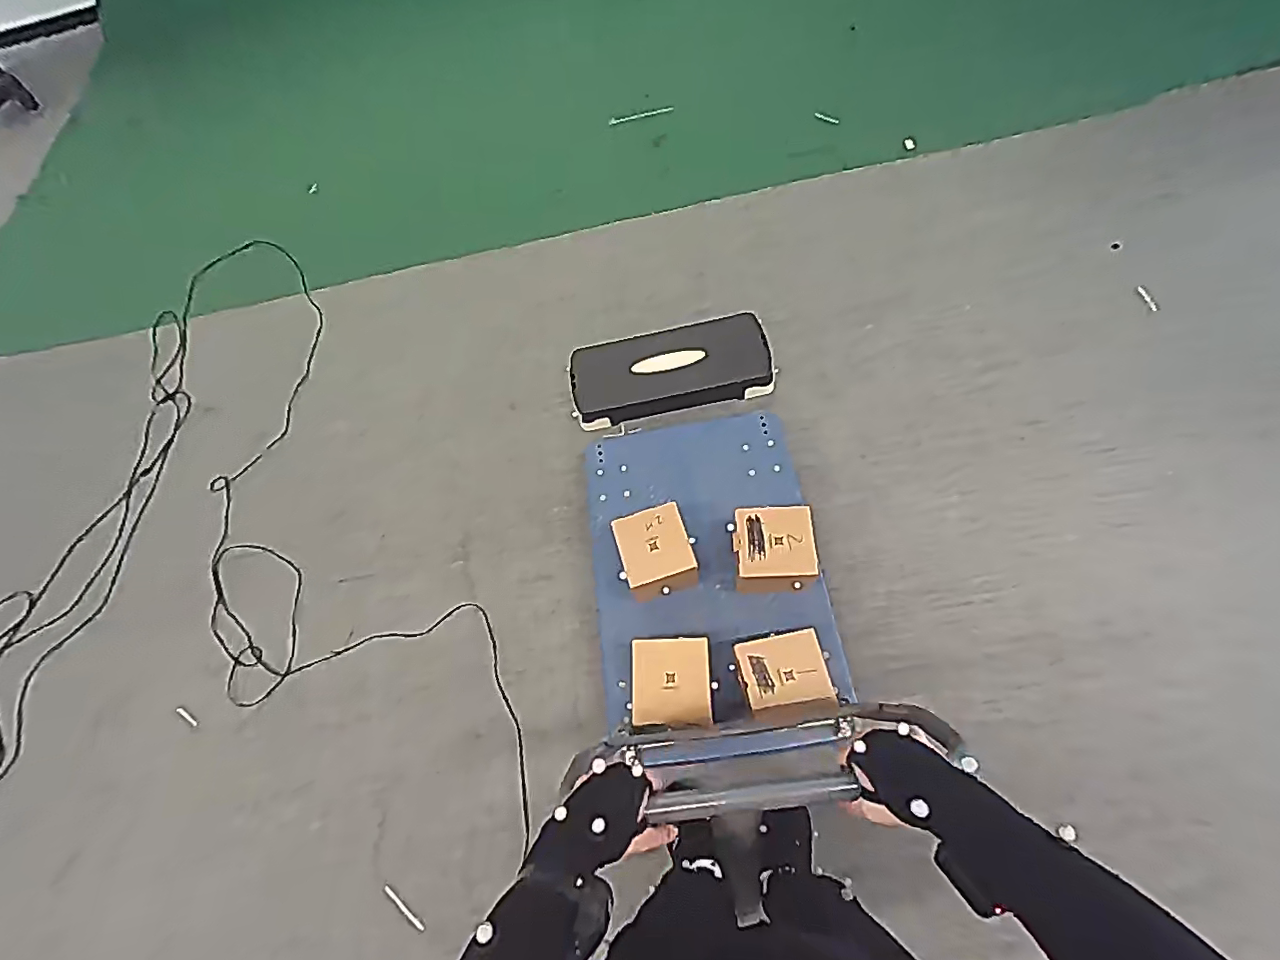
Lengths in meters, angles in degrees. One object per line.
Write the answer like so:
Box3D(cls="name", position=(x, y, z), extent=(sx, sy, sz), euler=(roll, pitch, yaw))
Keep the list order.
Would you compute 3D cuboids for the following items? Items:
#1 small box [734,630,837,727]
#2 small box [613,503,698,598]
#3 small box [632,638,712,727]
Box3D(cls="small box", position=(0.309, 0.441, 1.186), extent=(0.179, 0.176, 0.168), euler=(-12, 65, 2))
Box3D(cls="small box", position=(0.043, 0.184, 1.342), extent=(0.168, 0.176, 0.179), euler=(-17, 64, -1))
Box3D(cls="small box", position=(0.074, 0.458, 1.212), extent=(0.168, 0.176, 0.179), euler=(-3, 66, 6))
